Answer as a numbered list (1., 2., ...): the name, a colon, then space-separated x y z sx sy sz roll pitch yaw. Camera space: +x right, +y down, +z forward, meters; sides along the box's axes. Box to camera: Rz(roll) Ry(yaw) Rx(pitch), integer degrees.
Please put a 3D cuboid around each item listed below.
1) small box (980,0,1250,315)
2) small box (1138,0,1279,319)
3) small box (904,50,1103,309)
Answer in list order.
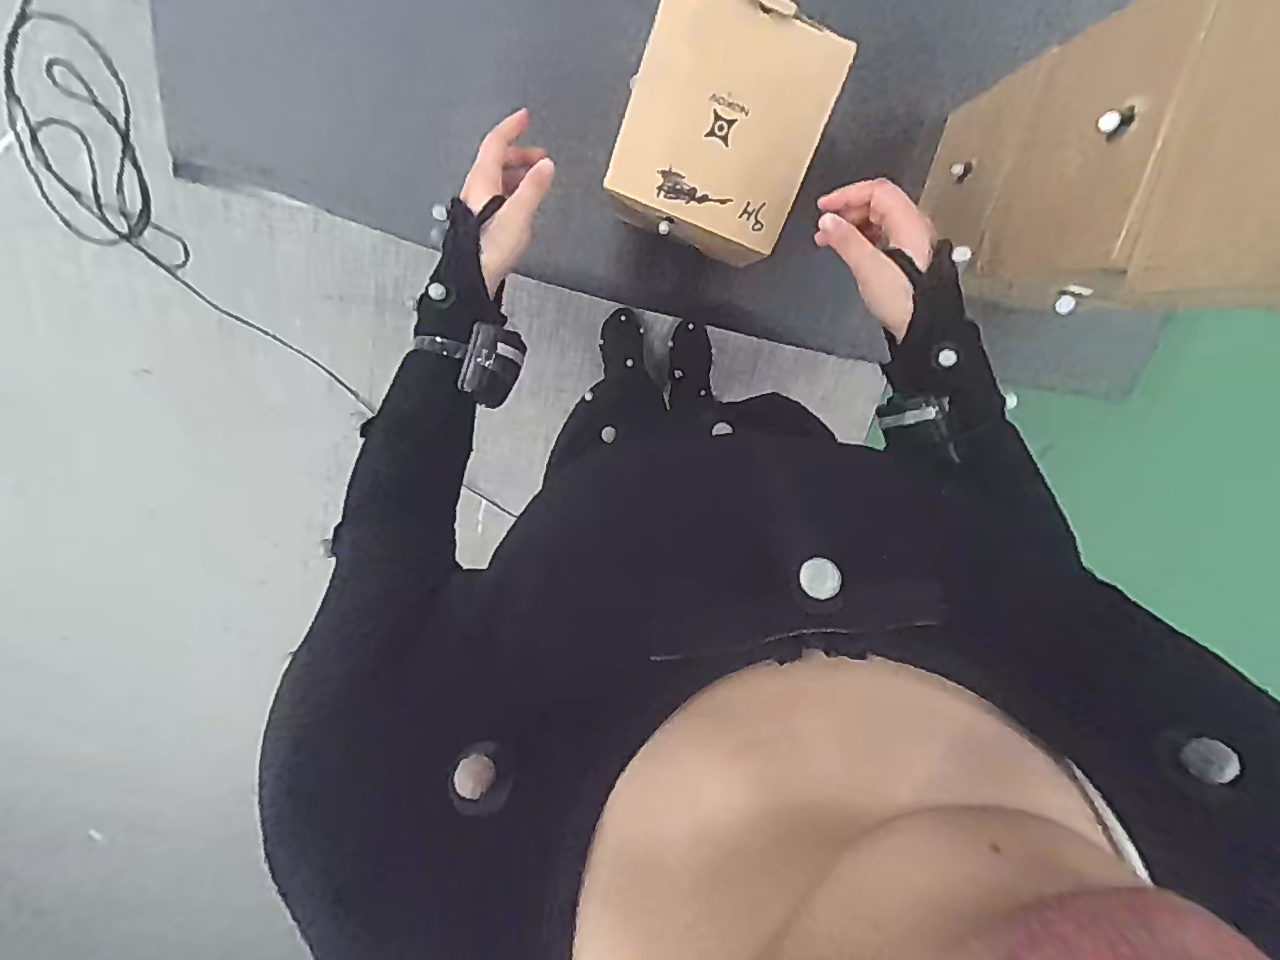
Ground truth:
1. small box: 0.393 -0.225 0.396 0.168 0.176 0.179 10 109 -1
2. small box: 0.391 -0.165 0.241 0.168 0.176 0.179 7 108 1
3. small box: 0.400 -0.279 0.548 0.168 0.176 0.179 13 107 -3
